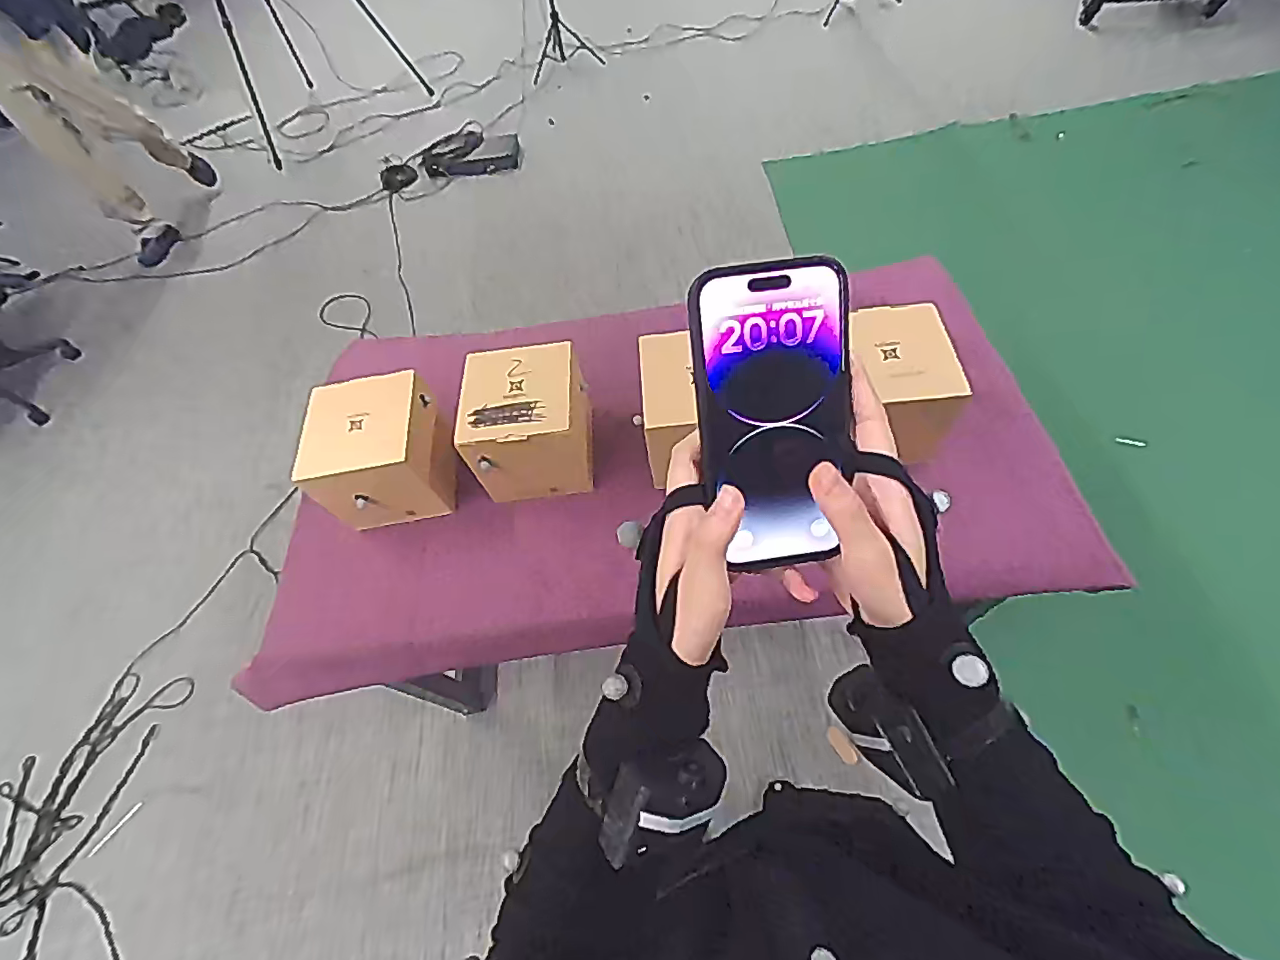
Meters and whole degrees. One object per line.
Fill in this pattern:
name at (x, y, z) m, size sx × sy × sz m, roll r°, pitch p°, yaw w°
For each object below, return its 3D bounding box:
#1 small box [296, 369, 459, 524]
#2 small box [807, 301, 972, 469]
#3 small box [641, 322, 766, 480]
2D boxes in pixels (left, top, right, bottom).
small box at (-0.401, -0.043, 0.860) m, size 0.168 × 0.176 × 0.179 m, roll -11°, pitch 57°, yaw 2°
small box at (0.353, -0.137, 0.808) m, size 0.168 × 0.176 × 0.179 m, roll -5°, pitch 59°, yaw 6°
small box at (0.095, -0.110, 0.828) m, size 0.168 × 0.176 × 0.179 m, roll -5°, pitch 58°, yaw 4°
